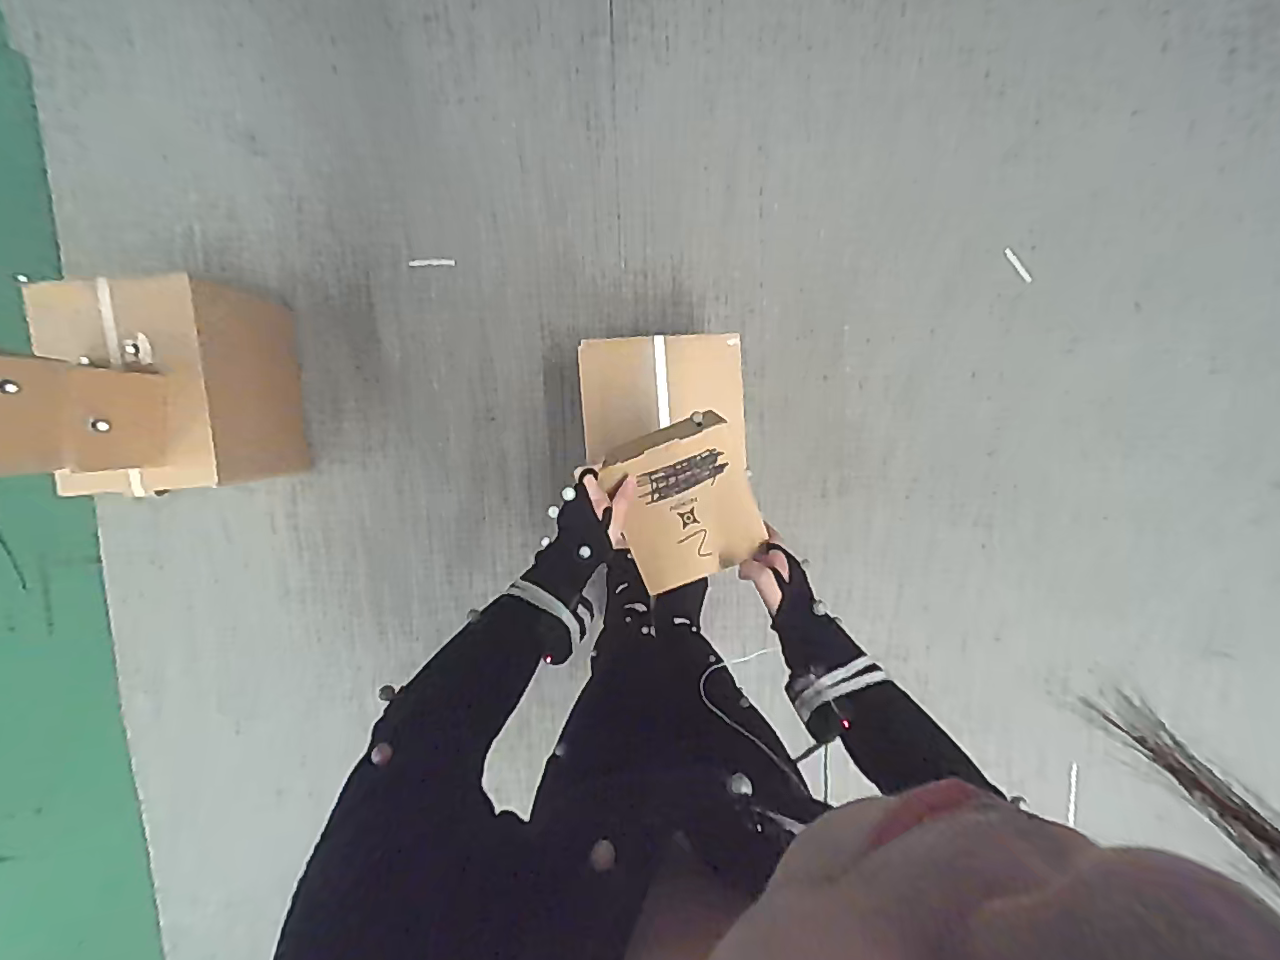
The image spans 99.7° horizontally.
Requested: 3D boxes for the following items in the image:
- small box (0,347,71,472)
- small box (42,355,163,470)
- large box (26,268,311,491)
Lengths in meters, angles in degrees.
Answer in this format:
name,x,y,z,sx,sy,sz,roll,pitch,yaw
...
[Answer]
name,x,y,z,sx,sy,sz,roll,pitch,yaw
small box,-0.979,-0.110,0.771,0.168,0.176,0.179,11,97,-1
small box,-0.974,-0.120,0.933,0.168,0.176,0.179,7,97,-1
large box,-0.973,-0.199,1.168,0.320,0.320,0.408,-3,96,0
